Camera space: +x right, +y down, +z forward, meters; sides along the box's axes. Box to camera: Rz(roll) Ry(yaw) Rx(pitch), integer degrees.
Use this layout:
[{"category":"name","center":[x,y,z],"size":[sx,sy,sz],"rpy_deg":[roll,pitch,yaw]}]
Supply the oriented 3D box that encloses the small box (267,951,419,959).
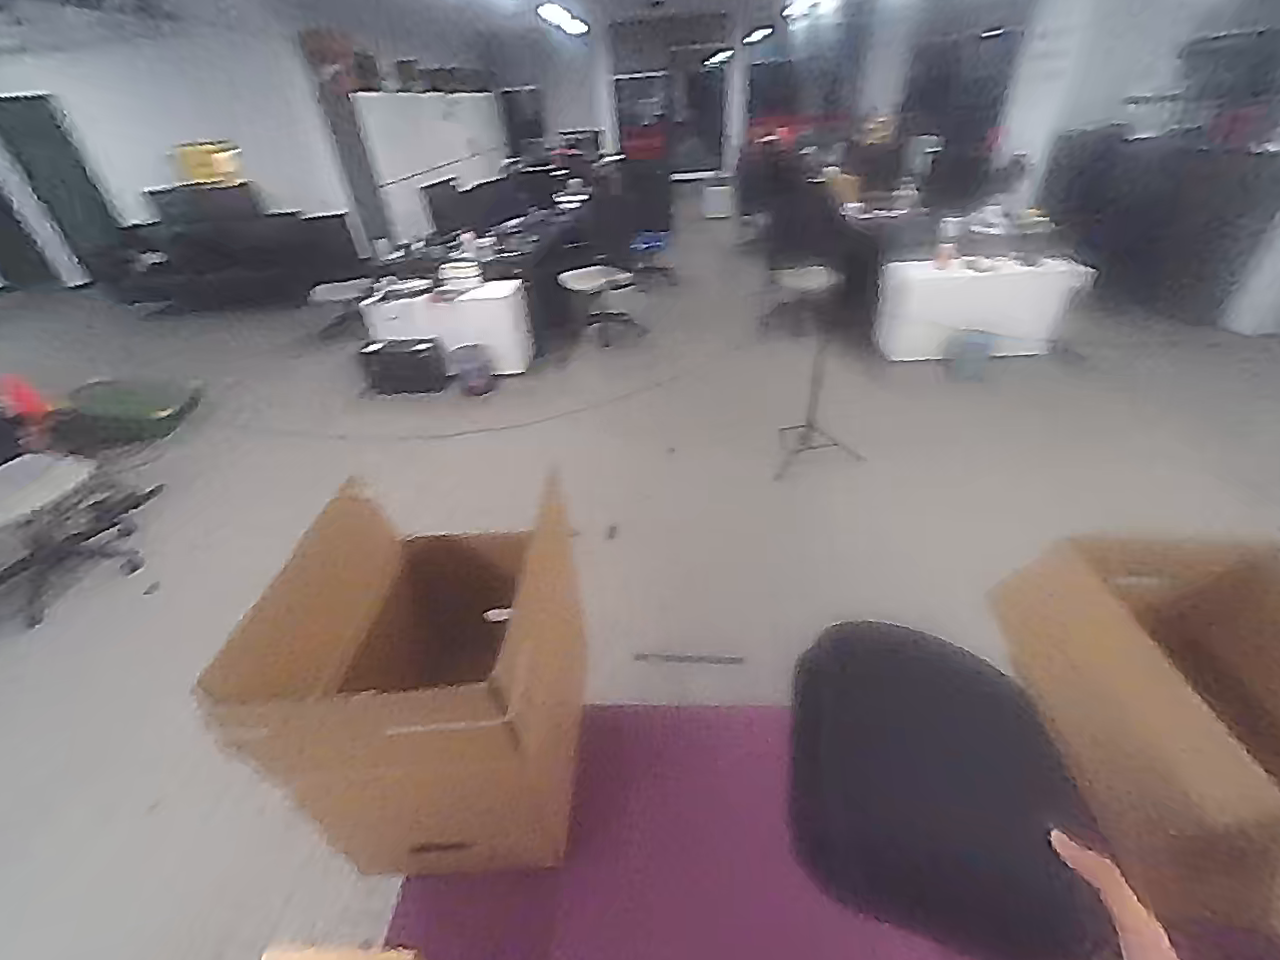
[{"category":"small box","center":[-0.332,0.644,0.585],"size":[0.179,0.176,0.168],"rpy_deg":[-1,35,3]}]
